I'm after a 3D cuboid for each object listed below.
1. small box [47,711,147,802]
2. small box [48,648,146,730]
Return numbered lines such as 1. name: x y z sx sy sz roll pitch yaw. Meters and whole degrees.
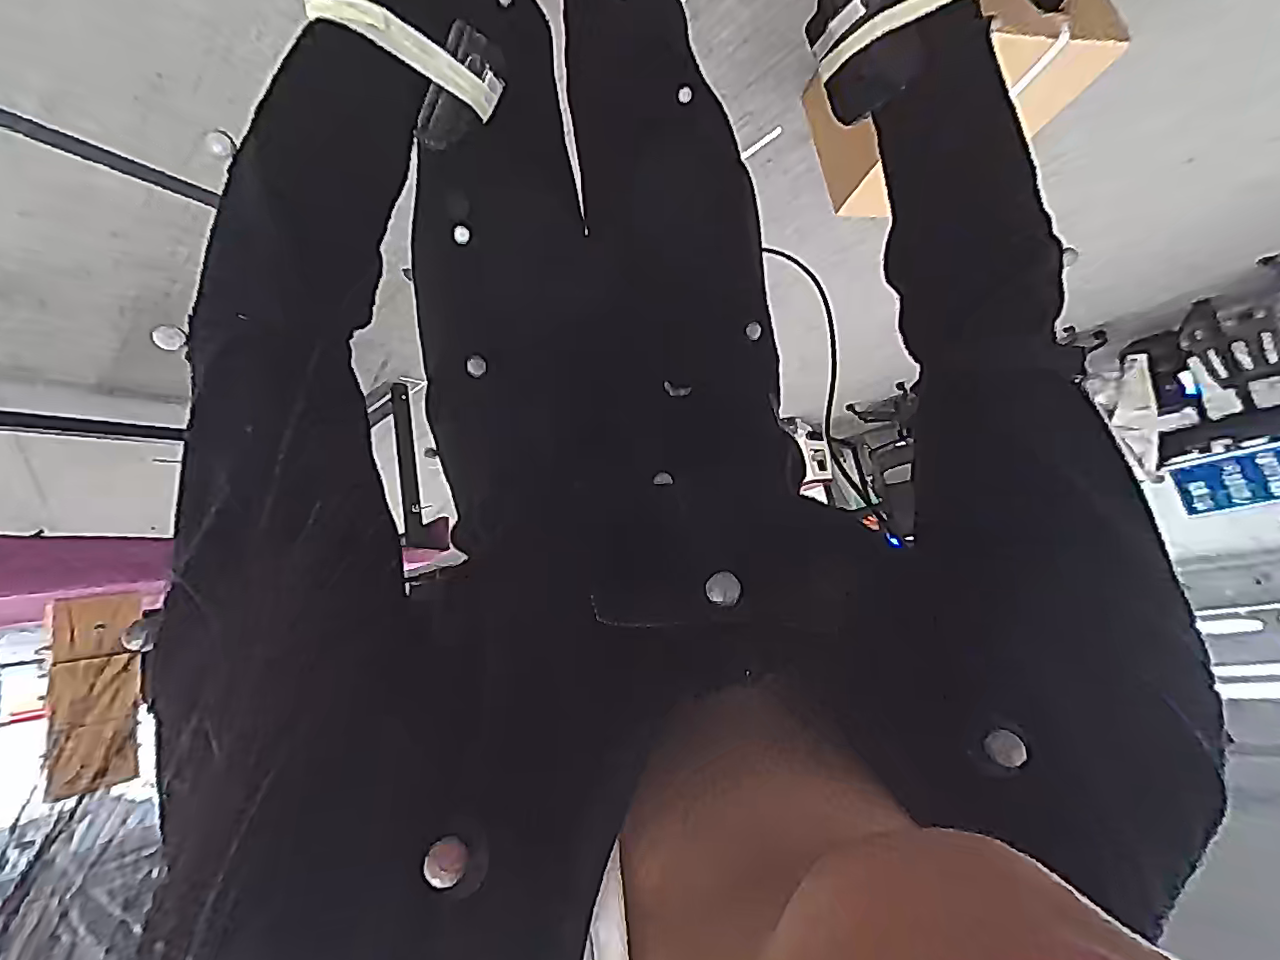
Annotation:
1. small box: -1.446 0.723 1.439 0.168 0.176 0.179 -20 166 39
2. small box: -1.471 0.563 1.466 0.168 0.176 0.179 -20 165 40
